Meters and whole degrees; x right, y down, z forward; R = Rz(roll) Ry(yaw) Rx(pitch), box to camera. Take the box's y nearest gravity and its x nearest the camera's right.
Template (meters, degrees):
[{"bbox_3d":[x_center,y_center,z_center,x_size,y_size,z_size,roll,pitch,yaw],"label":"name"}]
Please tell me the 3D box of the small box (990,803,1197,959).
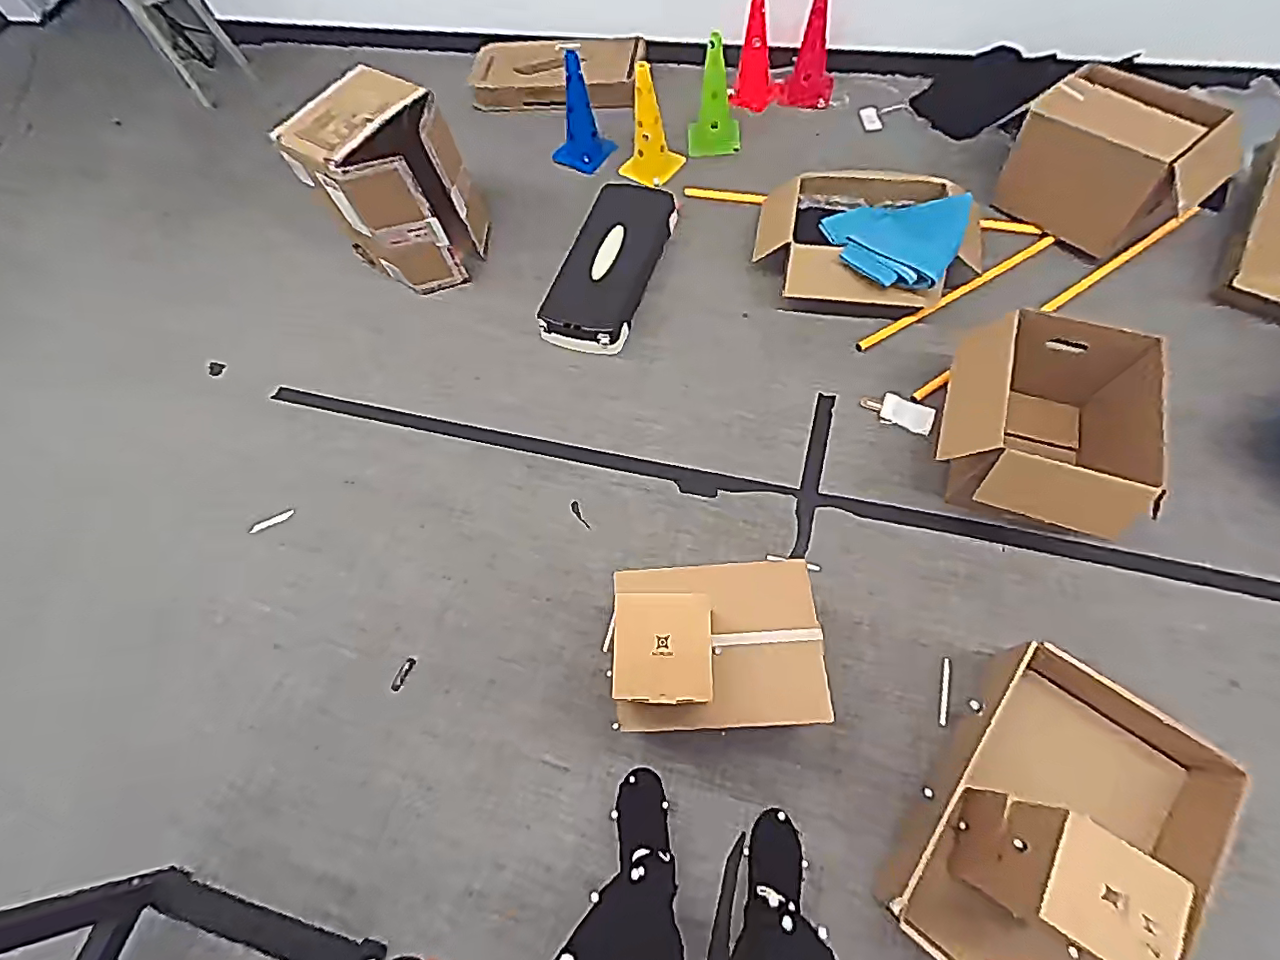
[{"bbox_3d":[0.703,0.643,0.859,0.179,0.176,0.168,30,70,17],"label":"small box"}]
